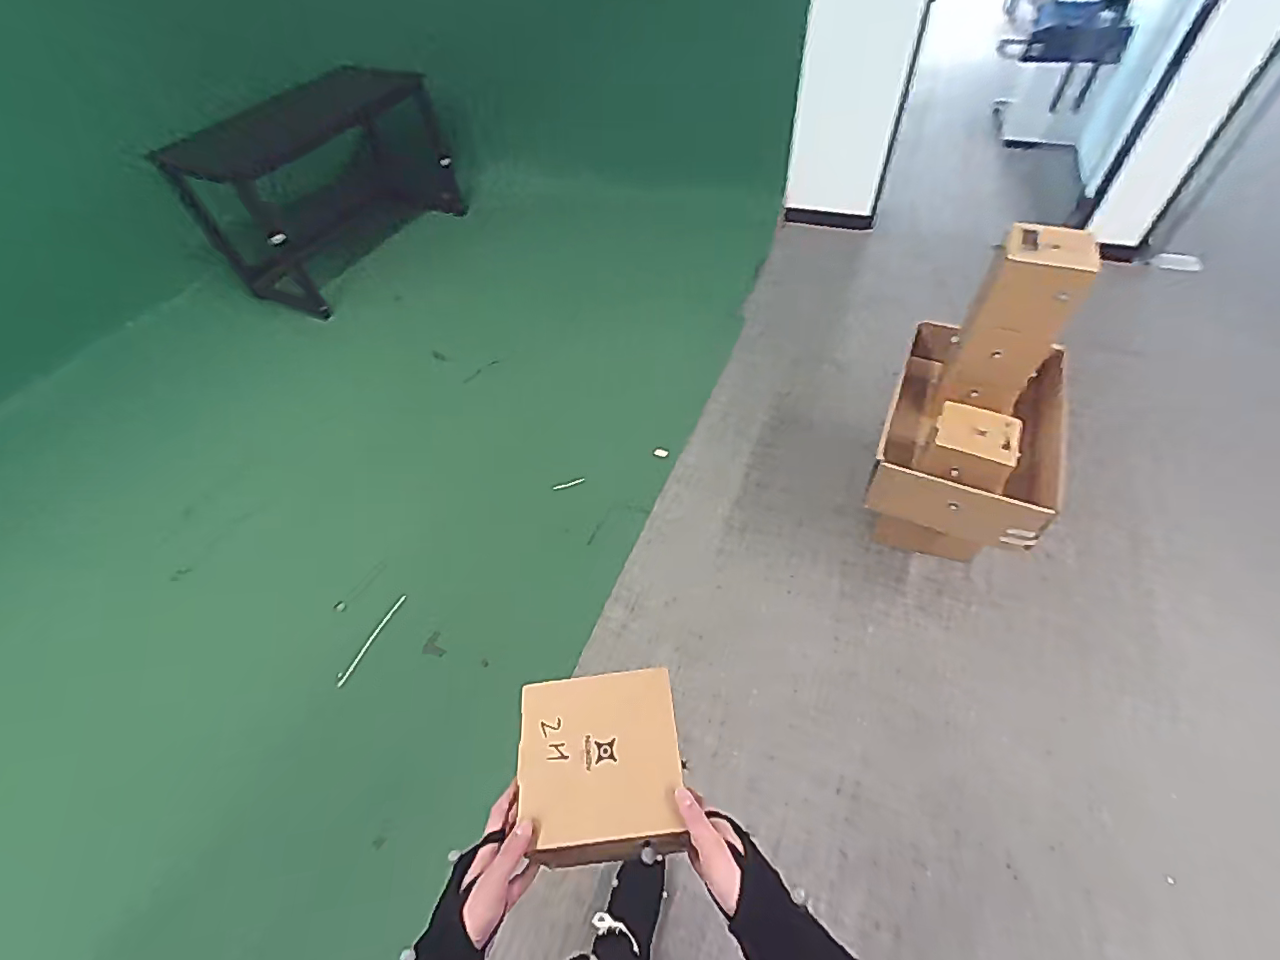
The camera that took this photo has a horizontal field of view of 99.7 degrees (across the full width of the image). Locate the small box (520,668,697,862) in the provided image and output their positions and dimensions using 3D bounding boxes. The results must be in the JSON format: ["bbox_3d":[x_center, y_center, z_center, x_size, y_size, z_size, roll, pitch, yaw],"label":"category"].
[{"bbox_3d":[-0.031,0.338,0.638,0.179,0.176,0.168,-7,50,1],"label":"small box"}]

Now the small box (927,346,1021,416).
[{"bbox_3d":[0.930,-0.268,1.505,0.179,0.176,0.168,18,57,18],"label":"small box"}]

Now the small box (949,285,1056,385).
[{"bbox_3d":[0.916,-0.364,1.372,0.179,0.176,0.168,16,56,18],"label":"small box"}]

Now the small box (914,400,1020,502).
[{"bbox_3d":[0.815,-0.069,1.360,0.179,0.176,0.168,20,56,19],"label":"small box"}]
